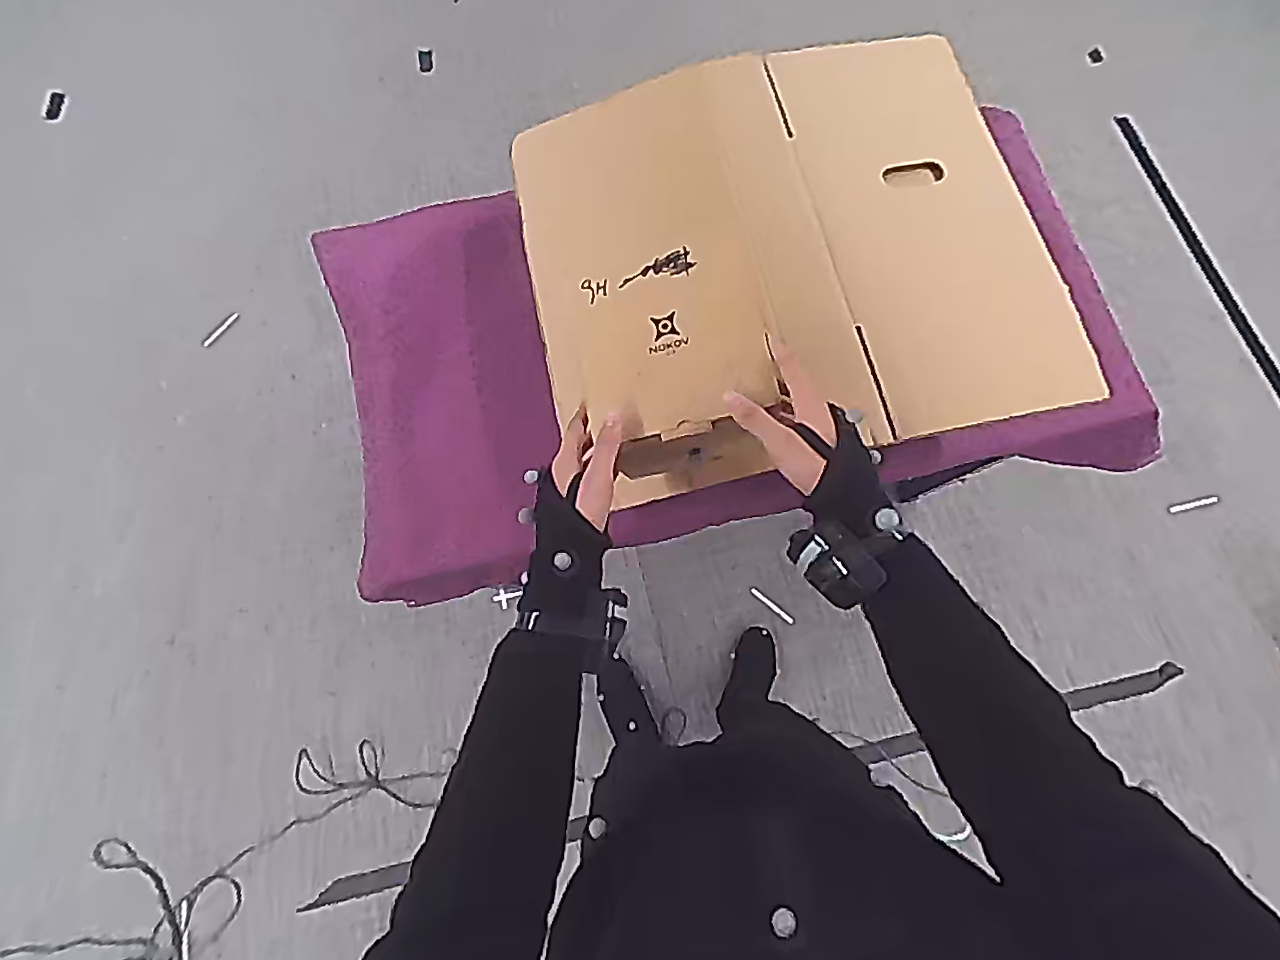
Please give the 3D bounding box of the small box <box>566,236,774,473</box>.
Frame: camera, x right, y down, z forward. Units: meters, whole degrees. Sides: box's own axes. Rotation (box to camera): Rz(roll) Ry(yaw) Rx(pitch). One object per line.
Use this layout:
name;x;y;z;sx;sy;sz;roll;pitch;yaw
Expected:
small box;0.037;-0.109;0.558;0.168;0.176;0.179;-12;80;8
